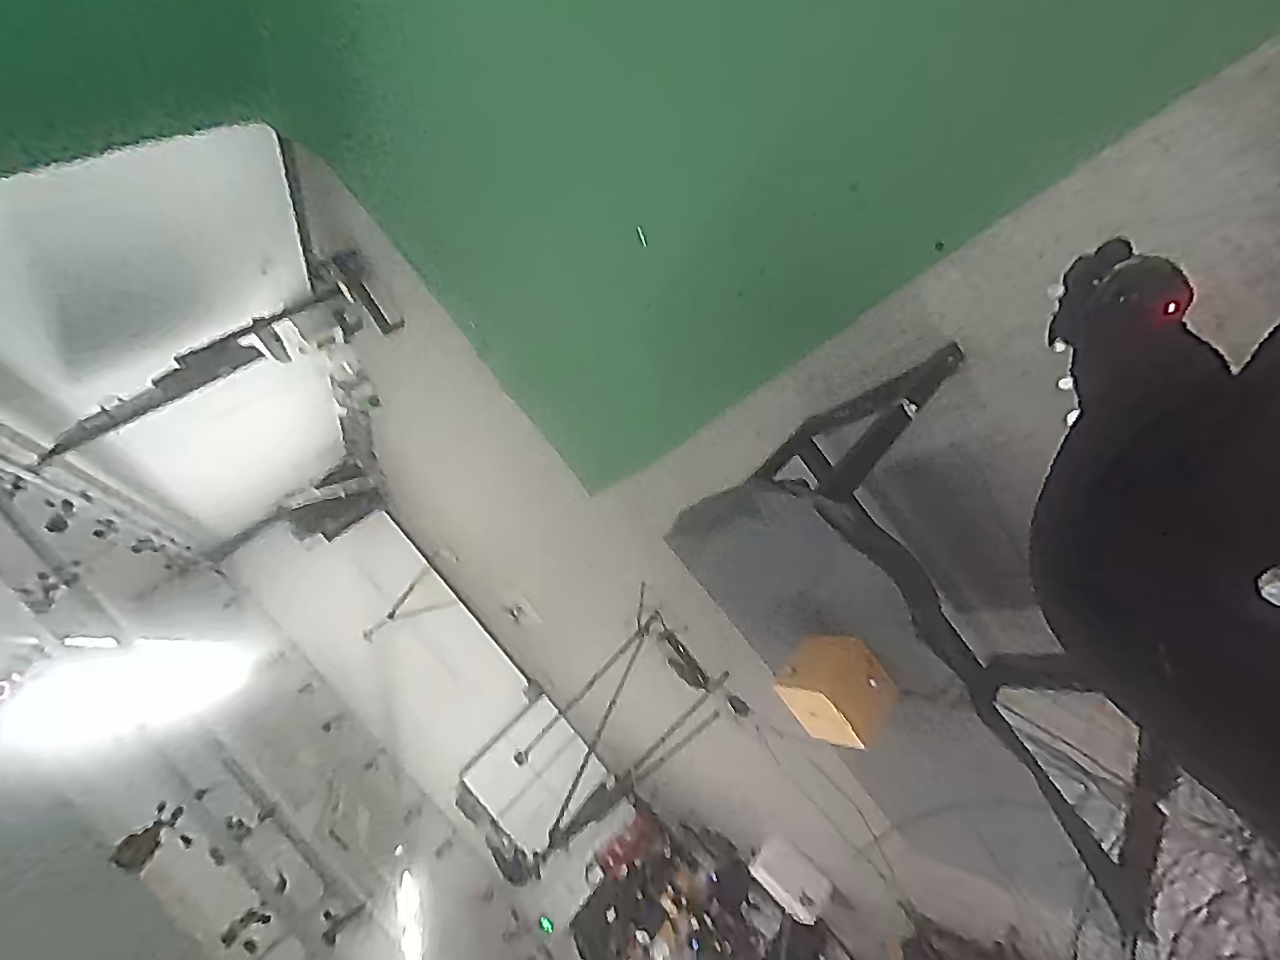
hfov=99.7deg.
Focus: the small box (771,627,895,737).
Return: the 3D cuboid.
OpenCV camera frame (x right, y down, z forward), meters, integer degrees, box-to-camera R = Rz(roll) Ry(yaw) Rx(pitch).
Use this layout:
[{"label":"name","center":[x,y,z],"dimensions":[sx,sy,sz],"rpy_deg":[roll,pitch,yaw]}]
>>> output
[{"label":"small box","center":[0.451,0.460,1.261],"dimensions":[0.168,0.176,0.179],"rpy_deg":[51,151,-6]}]
